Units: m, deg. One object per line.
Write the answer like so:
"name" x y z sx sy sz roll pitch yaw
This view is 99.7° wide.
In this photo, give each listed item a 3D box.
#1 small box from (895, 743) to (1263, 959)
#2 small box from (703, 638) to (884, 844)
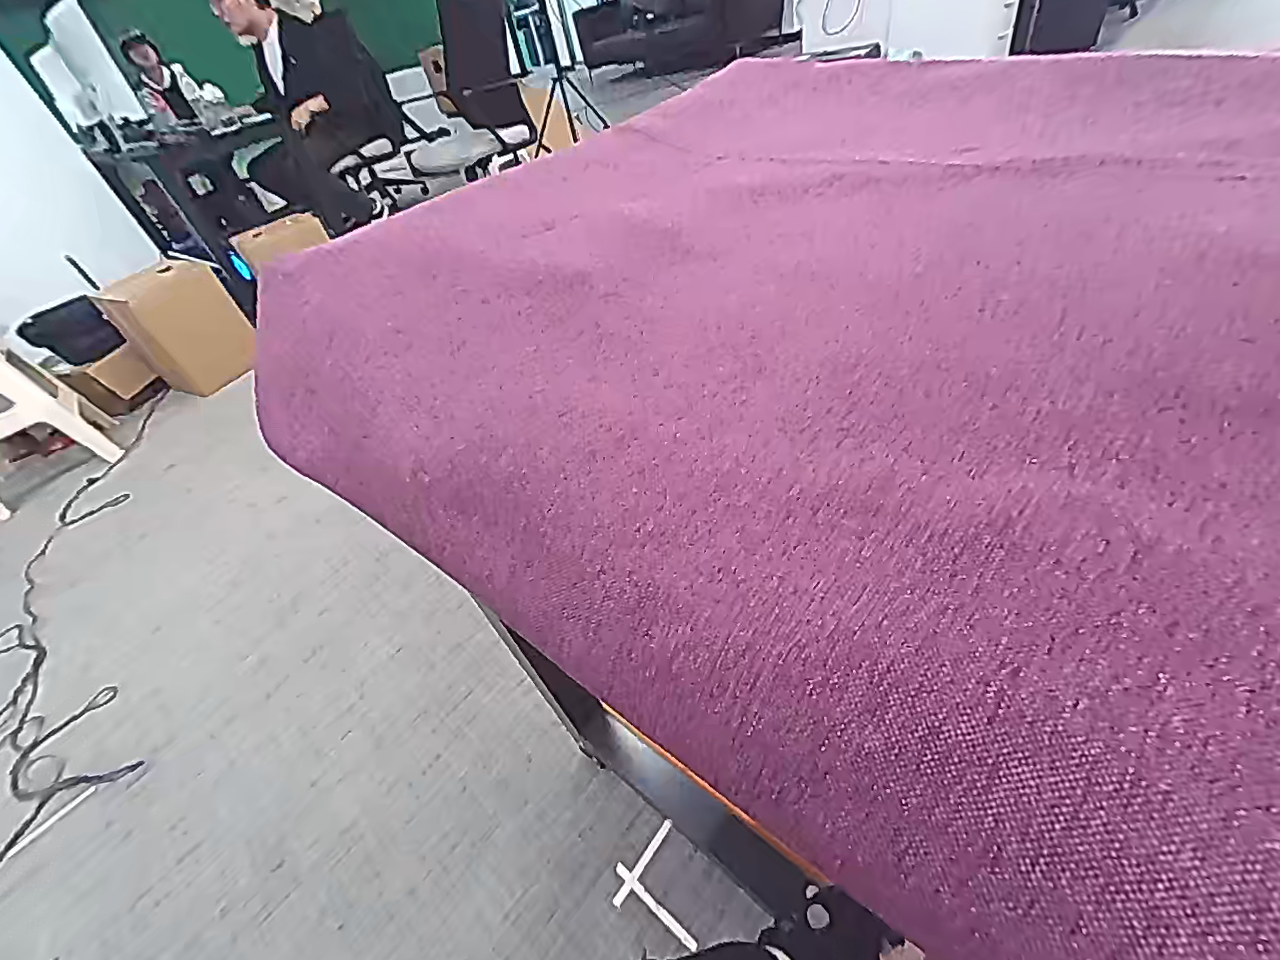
"small box" 0.342 0.374 0.456 0.168 0.176 0.179 -38 47 -25
"small box" 0.208 0.353 0.728 0.179 0.176 0.168 16 50 31
